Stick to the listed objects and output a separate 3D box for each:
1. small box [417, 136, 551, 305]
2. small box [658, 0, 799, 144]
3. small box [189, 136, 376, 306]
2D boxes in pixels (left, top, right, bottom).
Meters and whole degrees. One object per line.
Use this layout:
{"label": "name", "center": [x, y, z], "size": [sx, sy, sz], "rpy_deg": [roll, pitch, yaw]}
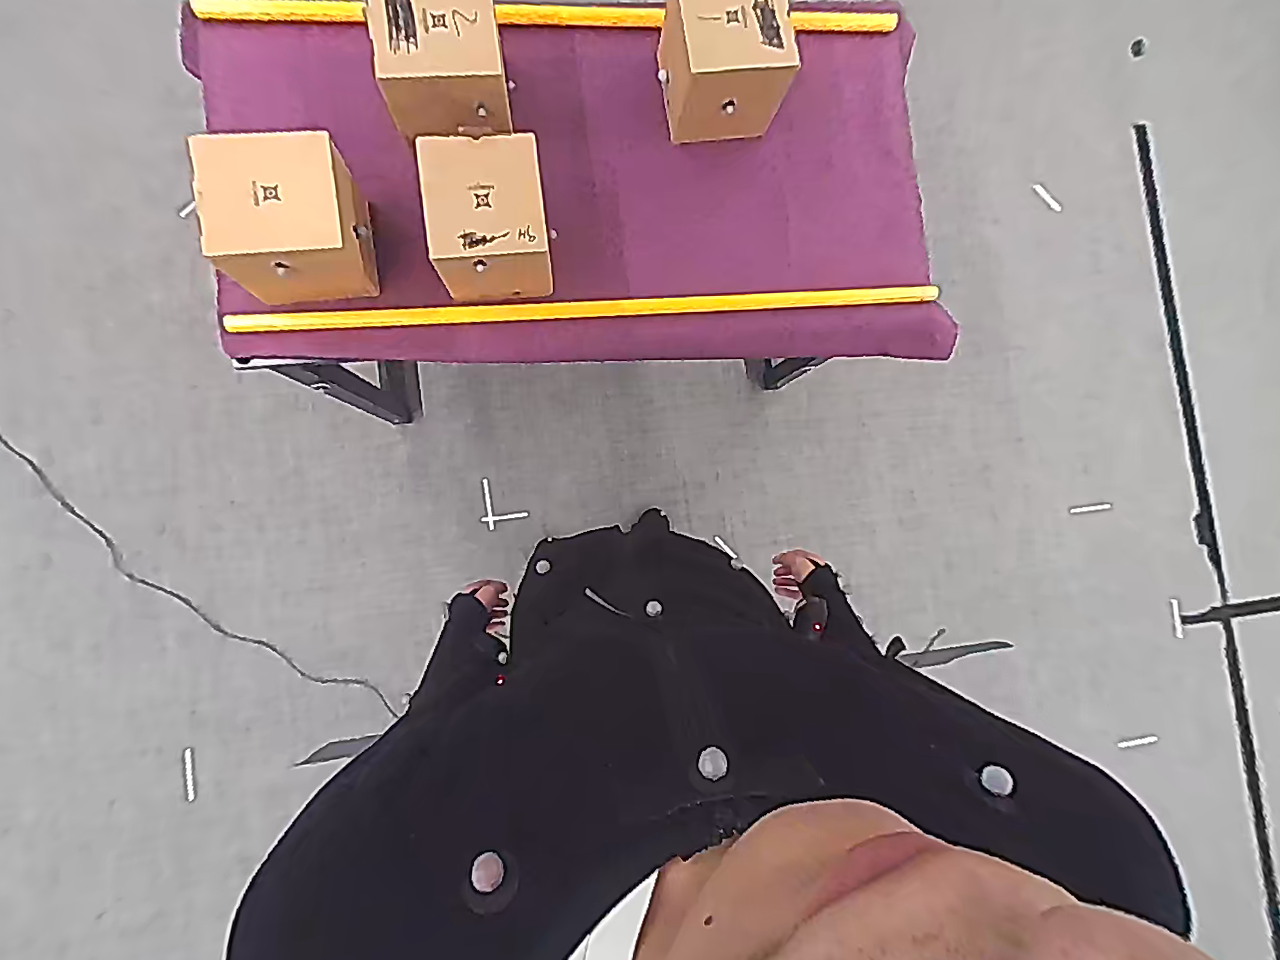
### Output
{"label": "small box", "center": [-0.229, -0.388, 0.830], "size": [0.168, 0.176, 0.179], "rpy_deg": [-7, 88, -7]}
{"label": "small box", "center": [0.137, -0.687, 0.888], "size": [0.179, 0.176, 0.168], "rpy_deg": [-9, 89, -6]}
{"label": "small box", "center": [-0.506, -0.370, 0.796], "size": [0.179, 0.176, 0.168], "rpy_deg": [-8, 88, -8]}
